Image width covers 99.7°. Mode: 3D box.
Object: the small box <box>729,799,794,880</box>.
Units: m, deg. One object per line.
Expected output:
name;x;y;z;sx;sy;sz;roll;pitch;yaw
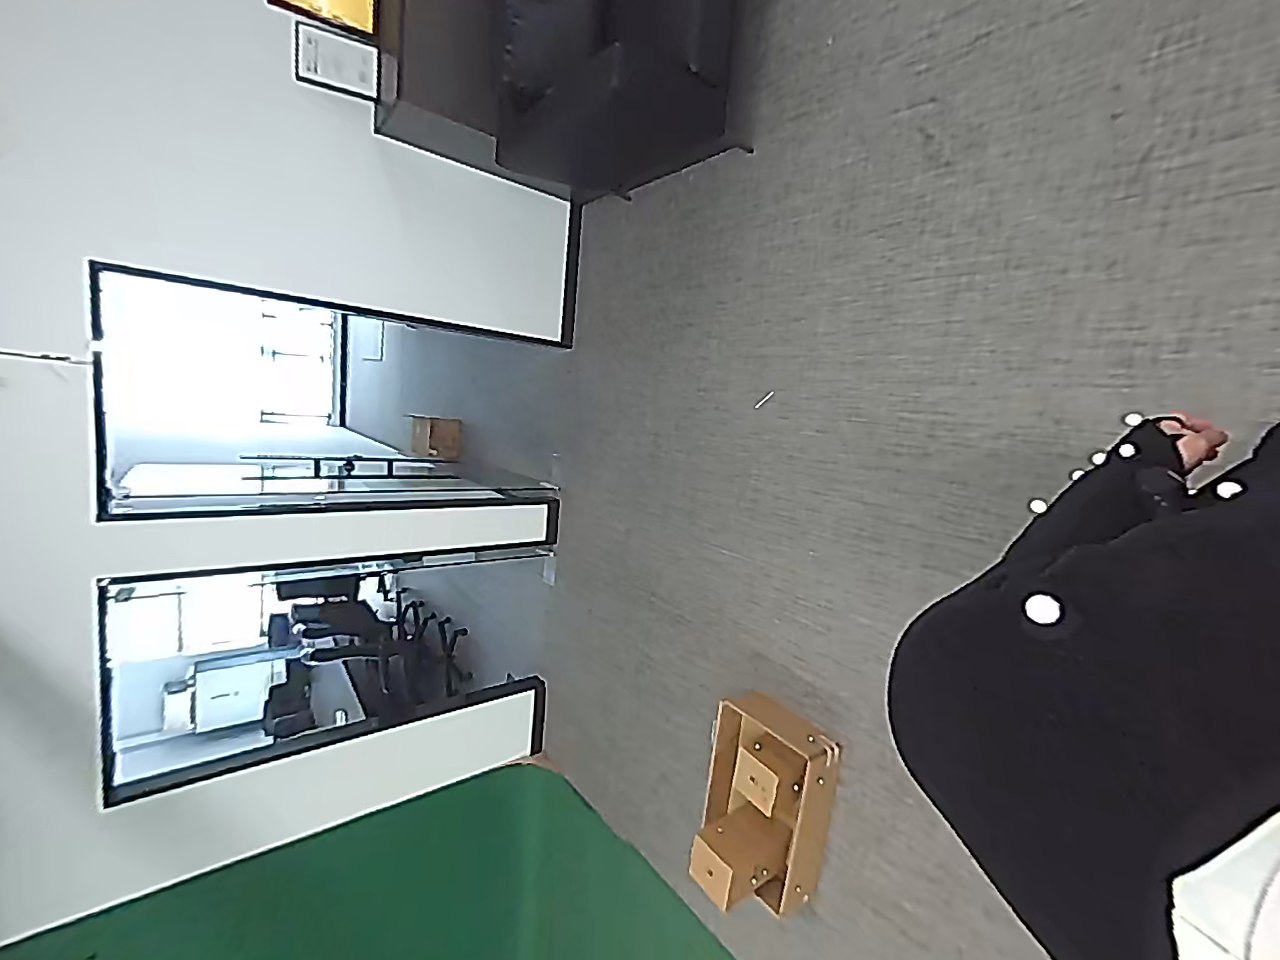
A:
small box;0.432;1.306;1.973;0.179;0.176;0.168;20;106;50

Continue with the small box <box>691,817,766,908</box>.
small box;0.307;1.307;1.869;0.179;0.176;0.168;19;105;49
